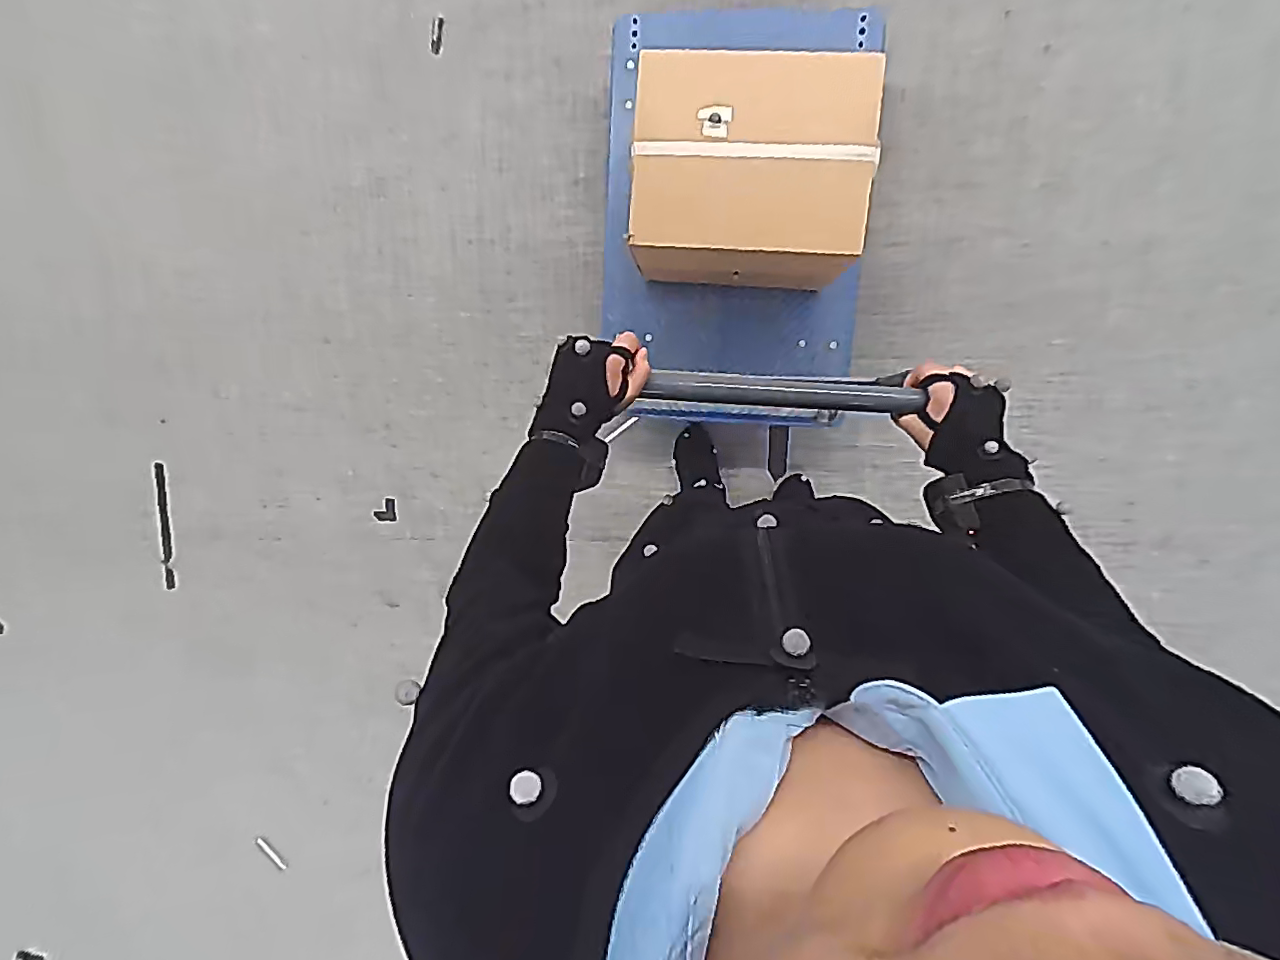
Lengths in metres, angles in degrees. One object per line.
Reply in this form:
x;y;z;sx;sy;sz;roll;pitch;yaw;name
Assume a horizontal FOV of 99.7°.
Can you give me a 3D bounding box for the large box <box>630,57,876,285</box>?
0.206;-0.581;1.081;0.408;0.320;0.320;5;98;6;large box
